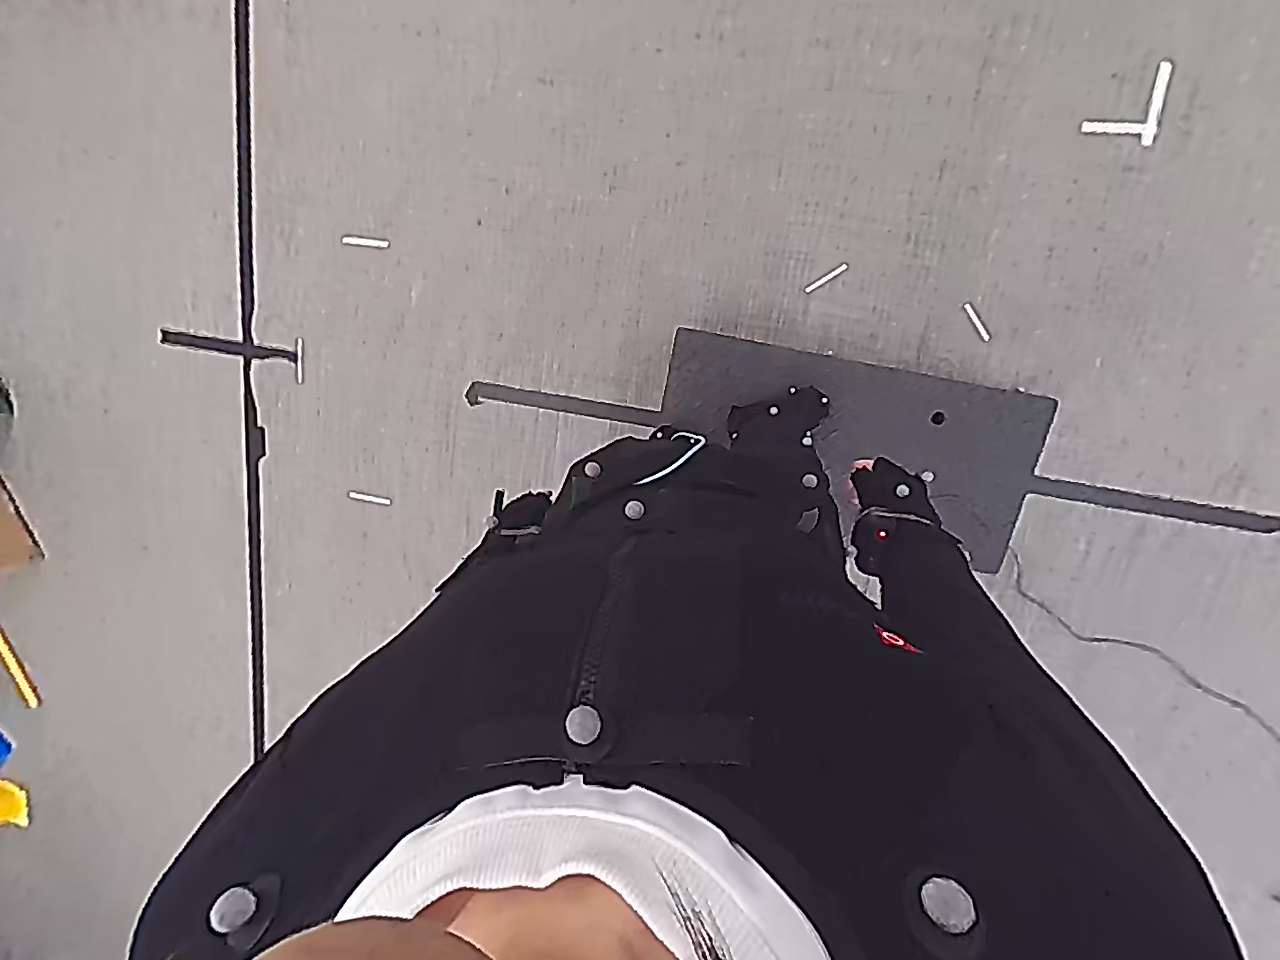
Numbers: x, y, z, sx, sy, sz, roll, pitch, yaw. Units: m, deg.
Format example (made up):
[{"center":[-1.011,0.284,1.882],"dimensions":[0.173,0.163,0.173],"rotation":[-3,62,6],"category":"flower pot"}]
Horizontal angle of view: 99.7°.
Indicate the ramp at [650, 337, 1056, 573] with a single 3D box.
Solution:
[{"center":[0.551,-0.055,1.427],"dimensions":[0.991,0.206,0.509],"rotation":[9,100,8],"category":"ramp"}]
